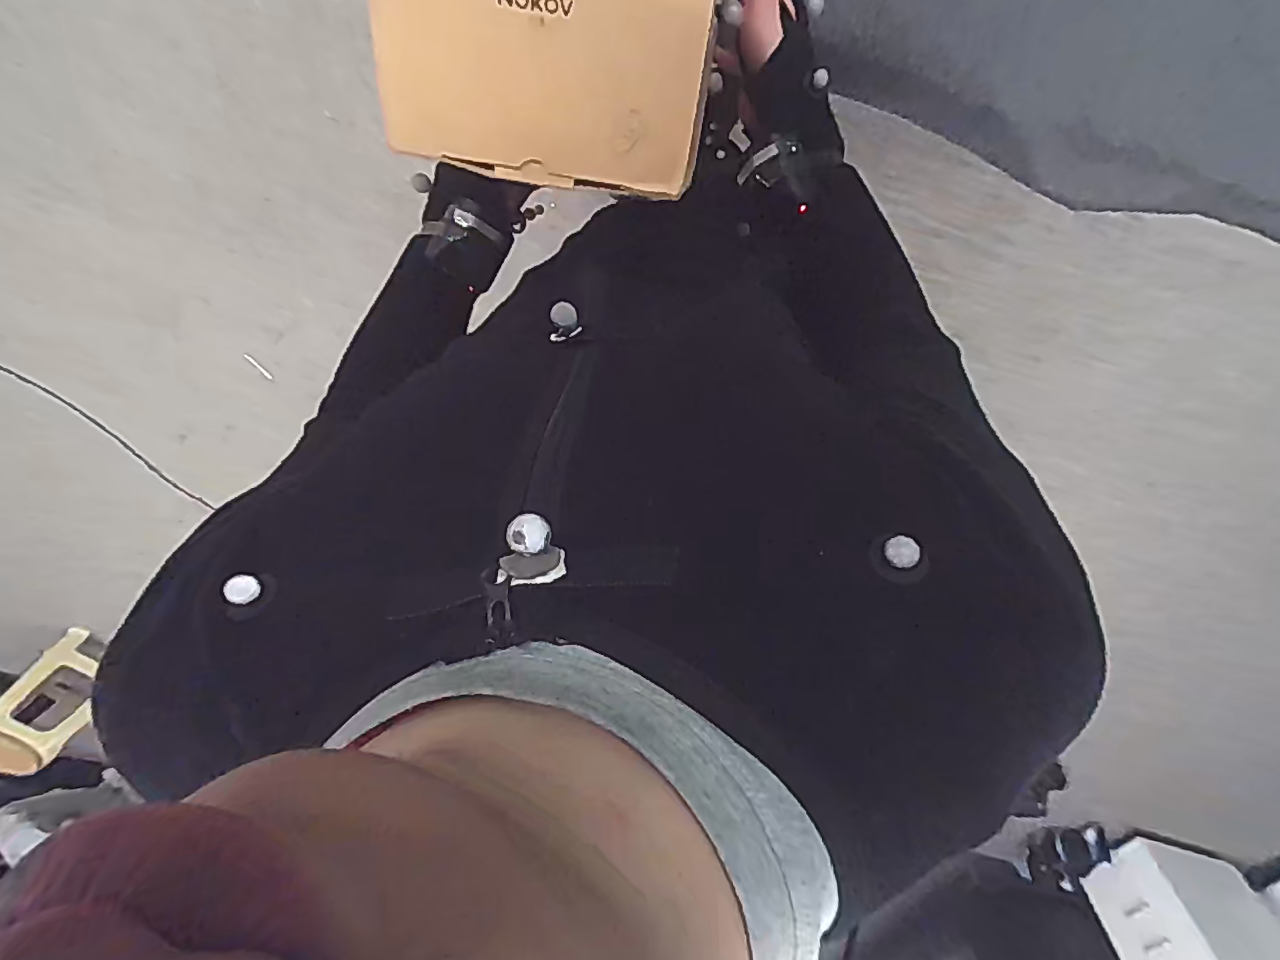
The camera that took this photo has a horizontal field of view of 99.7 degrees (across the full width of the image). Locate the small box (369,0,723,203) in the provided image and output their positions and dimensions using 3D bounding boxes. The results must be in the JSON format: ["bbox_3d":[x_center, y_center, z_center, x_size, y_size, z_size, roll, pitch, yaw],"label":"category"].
[{"bbox_3d":[-0.037,-0.278,0.309,0.168,0.176,0.179,9,125,1],"label":"small box"}]
